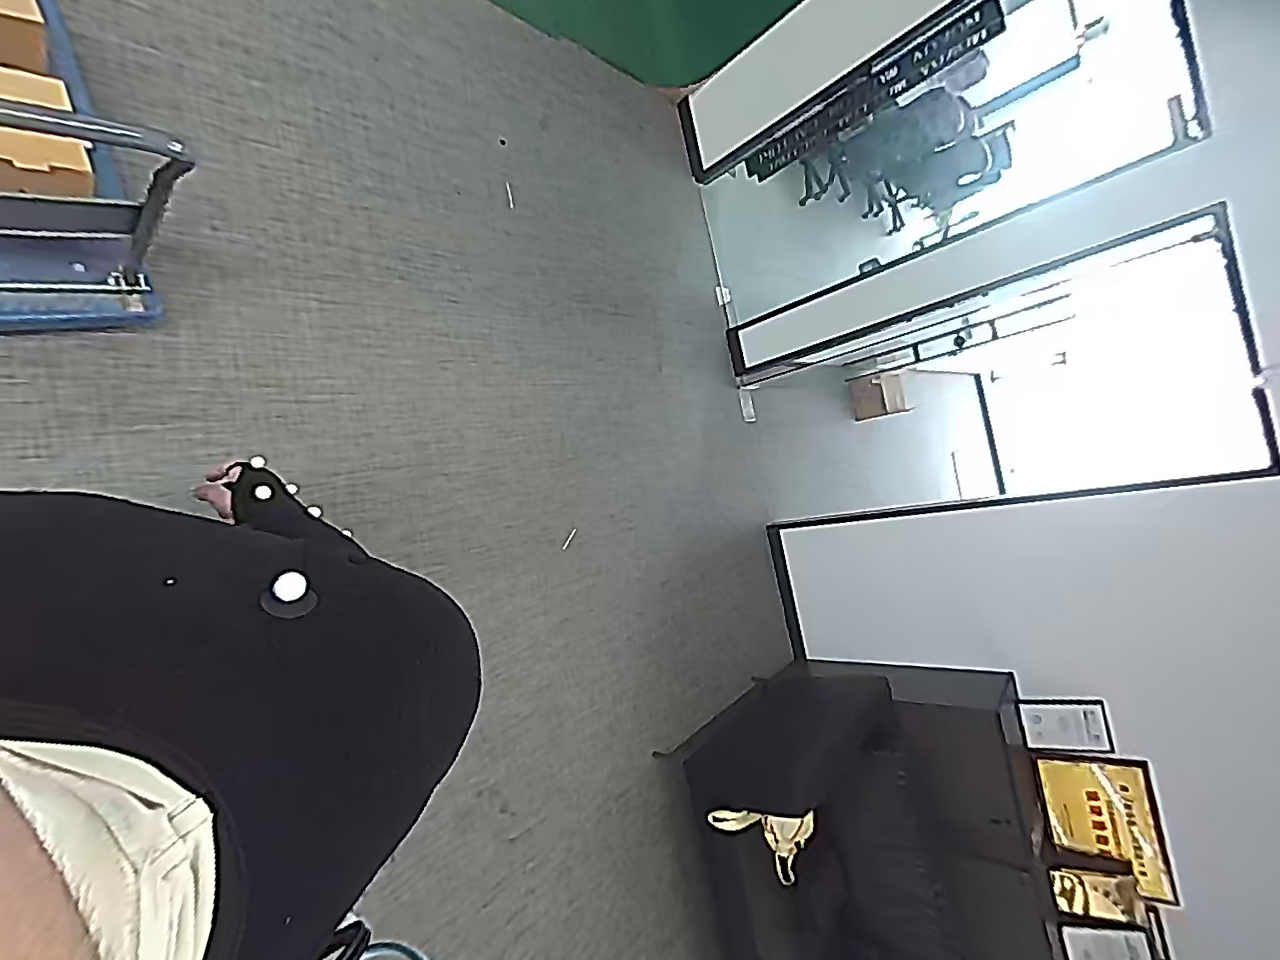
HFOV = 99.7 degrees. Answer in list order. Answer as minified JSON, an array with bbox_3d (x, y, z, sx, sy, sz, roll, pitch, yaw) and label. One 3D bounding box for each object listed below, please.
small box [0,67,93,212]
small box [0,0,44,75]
[{"bbox_3d":[-1.173,-0.638,1.015,0.168,0.176,0.179,-20,97,-47],"label":"small box"},{"bbox_3d":[-1.245,-0.897,0.990,0.168,0.176,0.179,-26,102,-46],"label":"small box"}]
